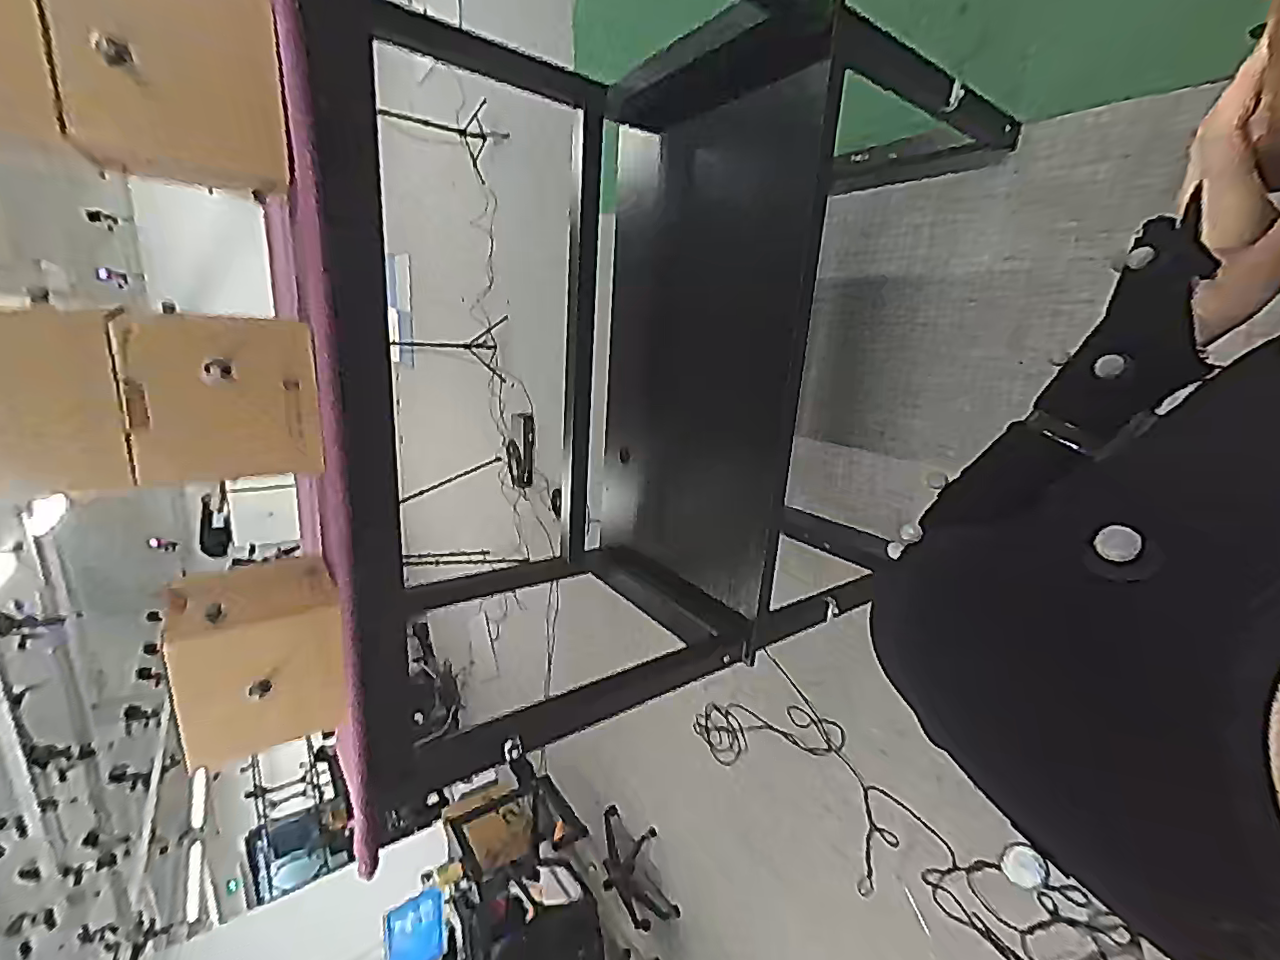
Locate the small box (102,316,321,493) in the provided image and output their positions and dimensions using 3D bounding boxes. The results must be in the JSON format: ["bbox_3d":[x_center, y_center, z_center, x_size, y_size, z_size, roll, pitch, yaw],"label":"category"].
[{"bbox_3d":[-0.475,-0.095,0.624,0.179,0.176,0.168,26,116,50],"label":"small box"}]

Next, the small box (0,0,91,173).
[{"bbox_3d":[-0.603,-0.380,0.462,0.168,0.176,0.179,24,116,53],"label":"small box"}]

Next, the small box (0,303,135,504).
[{"bbox_3d":[-0.609,-0.078,0.529,0.168,0.176,0.179,25,115,49],"label":"small box"}]

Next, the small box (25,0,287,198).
[{"bbox_3d":[-0.466,-0.398,0.547,0.168,0.176,0.179,24,115,53],"label":"small box"}]
